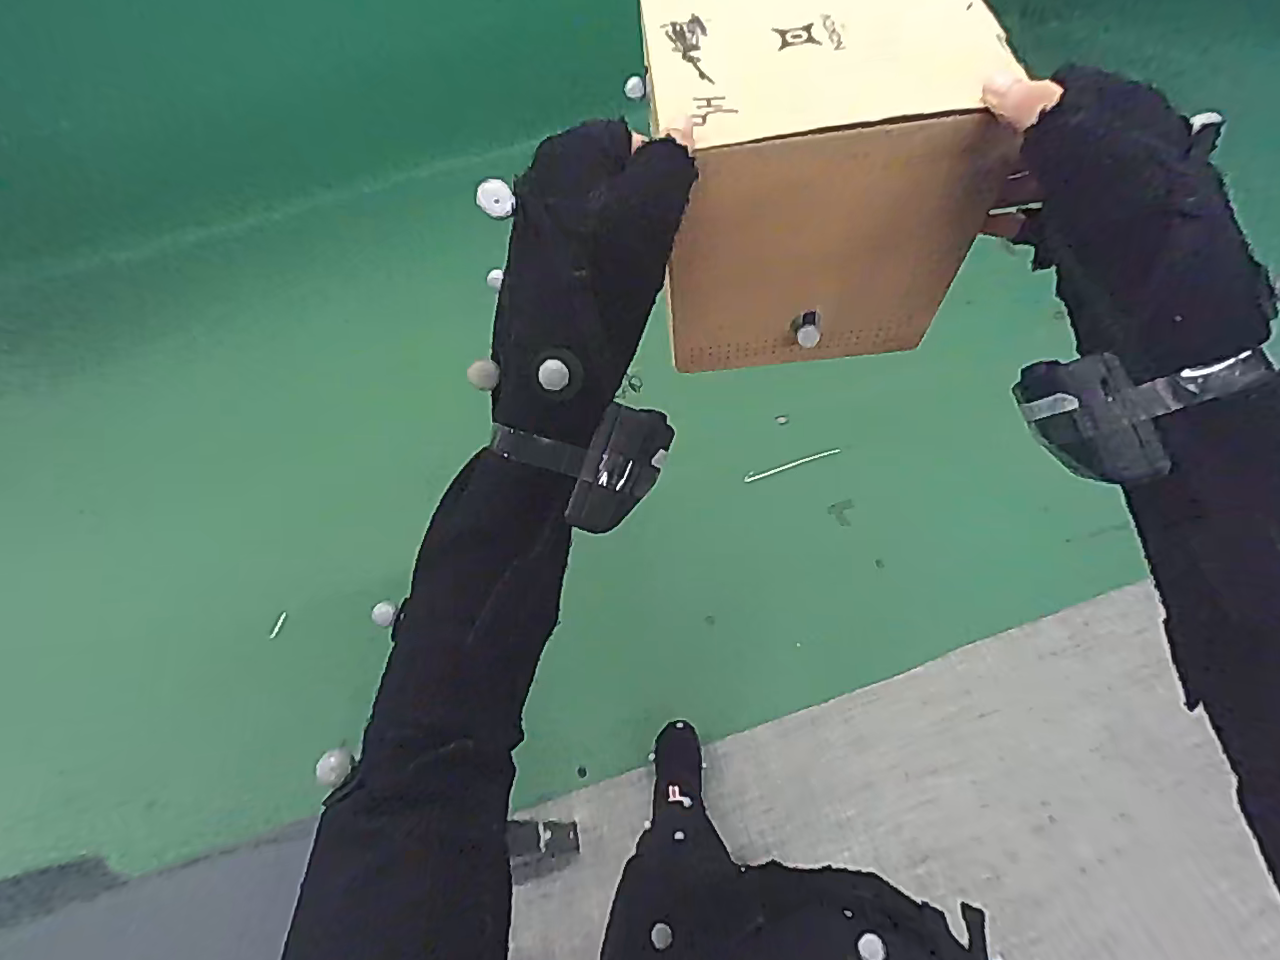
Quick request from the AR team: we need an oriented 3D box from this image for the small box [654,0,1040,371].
[{"bbox_3d":[0.103,-0.192,0.360,0.179,0.176,0.168,-5,61,3],"label":"small box"}]
